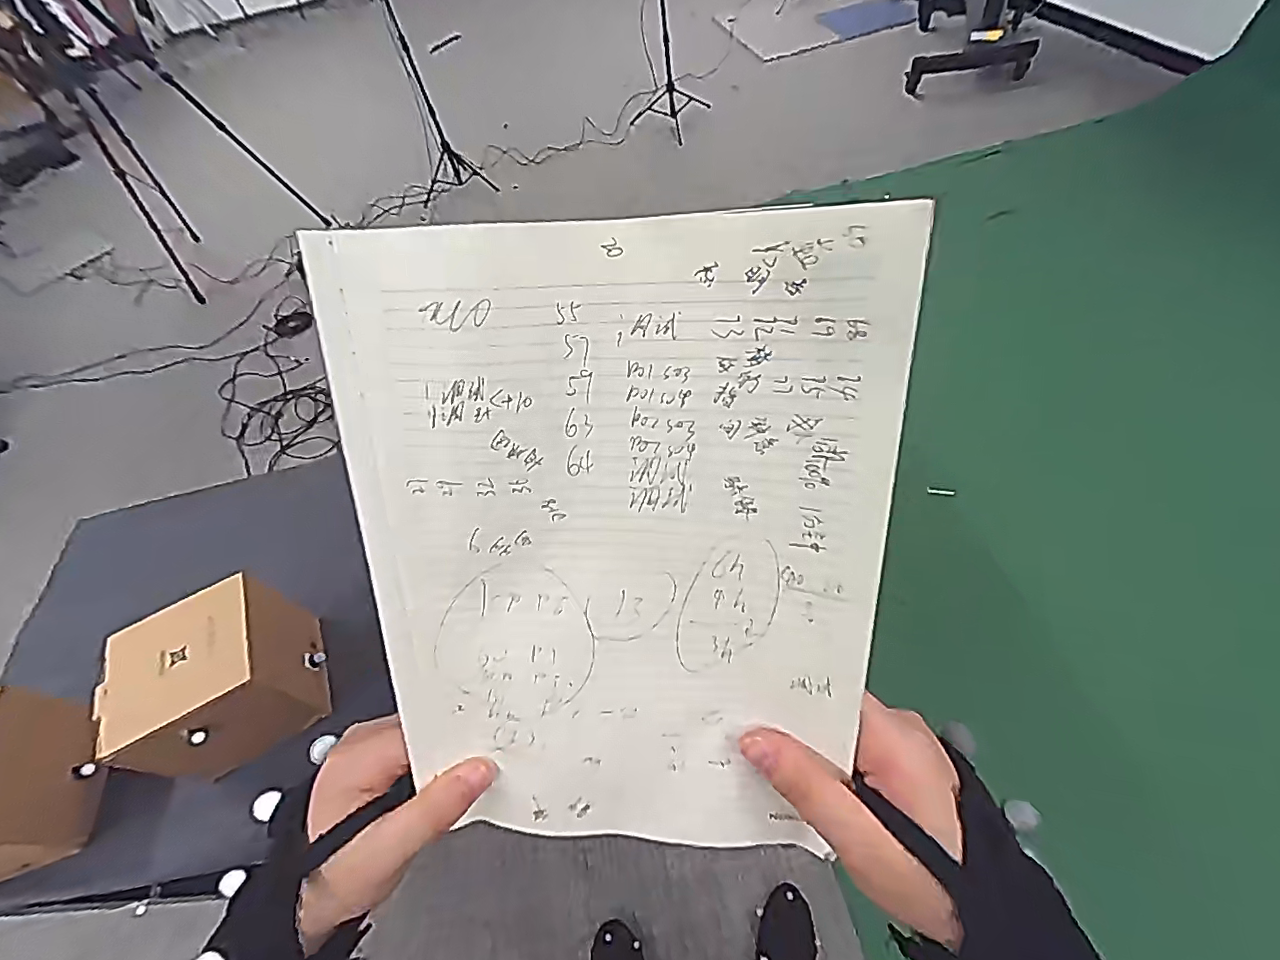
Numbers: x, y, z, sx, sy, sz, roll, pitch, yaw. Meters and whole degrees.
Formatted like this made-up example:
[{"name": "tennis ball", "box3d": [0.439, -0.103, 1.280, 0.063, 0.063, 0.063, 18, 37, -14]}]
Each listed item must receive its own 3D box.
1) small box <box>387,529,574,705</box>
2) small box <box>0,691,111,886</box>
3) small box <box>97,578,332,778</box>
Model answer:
[{"name": "small box", "box3d": [-0.191, 0.183, 0.712, 0.168, 0.176, 0.179, -4, 54, 9]}, {"name": "small box", "box3d": [-0.825, 0.398, 0.678, 0.168, 0.176, 0.179, -20, 54, -4]}, {"name": "small box", "box3d": [-0.554, 0.269, 0.723, 0.179, 0.176, 0.168, -28, 55, -12]}]
